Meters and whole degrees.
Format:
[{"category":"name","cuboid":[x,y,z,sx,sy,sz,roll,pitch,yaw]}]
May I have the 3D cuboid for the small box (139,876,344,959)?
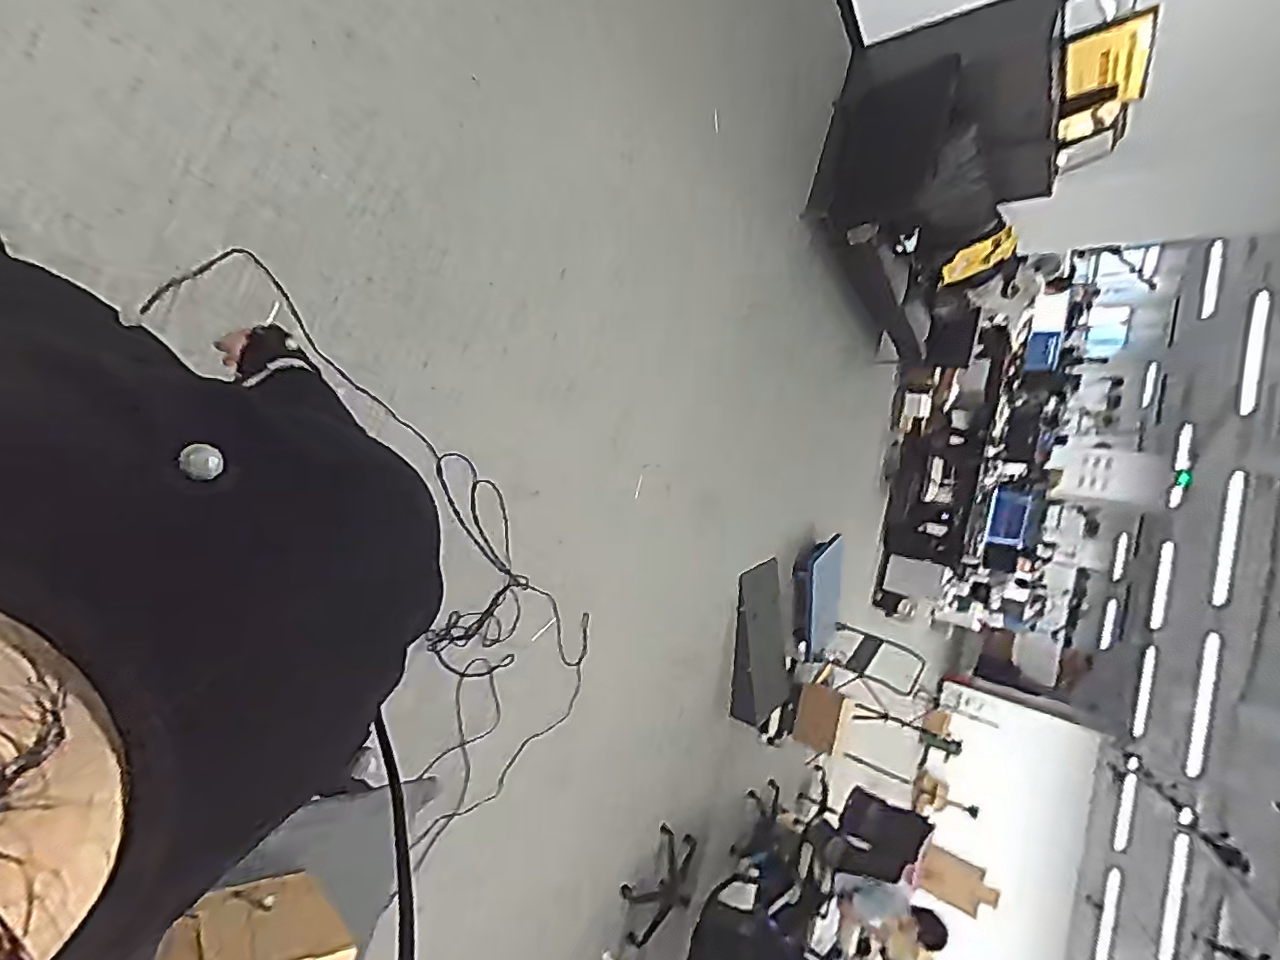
[{"category":"small box","cuboid":[-0.517,0.648,0.674,0.168,0.176,0.179,33,72,-52]}]
